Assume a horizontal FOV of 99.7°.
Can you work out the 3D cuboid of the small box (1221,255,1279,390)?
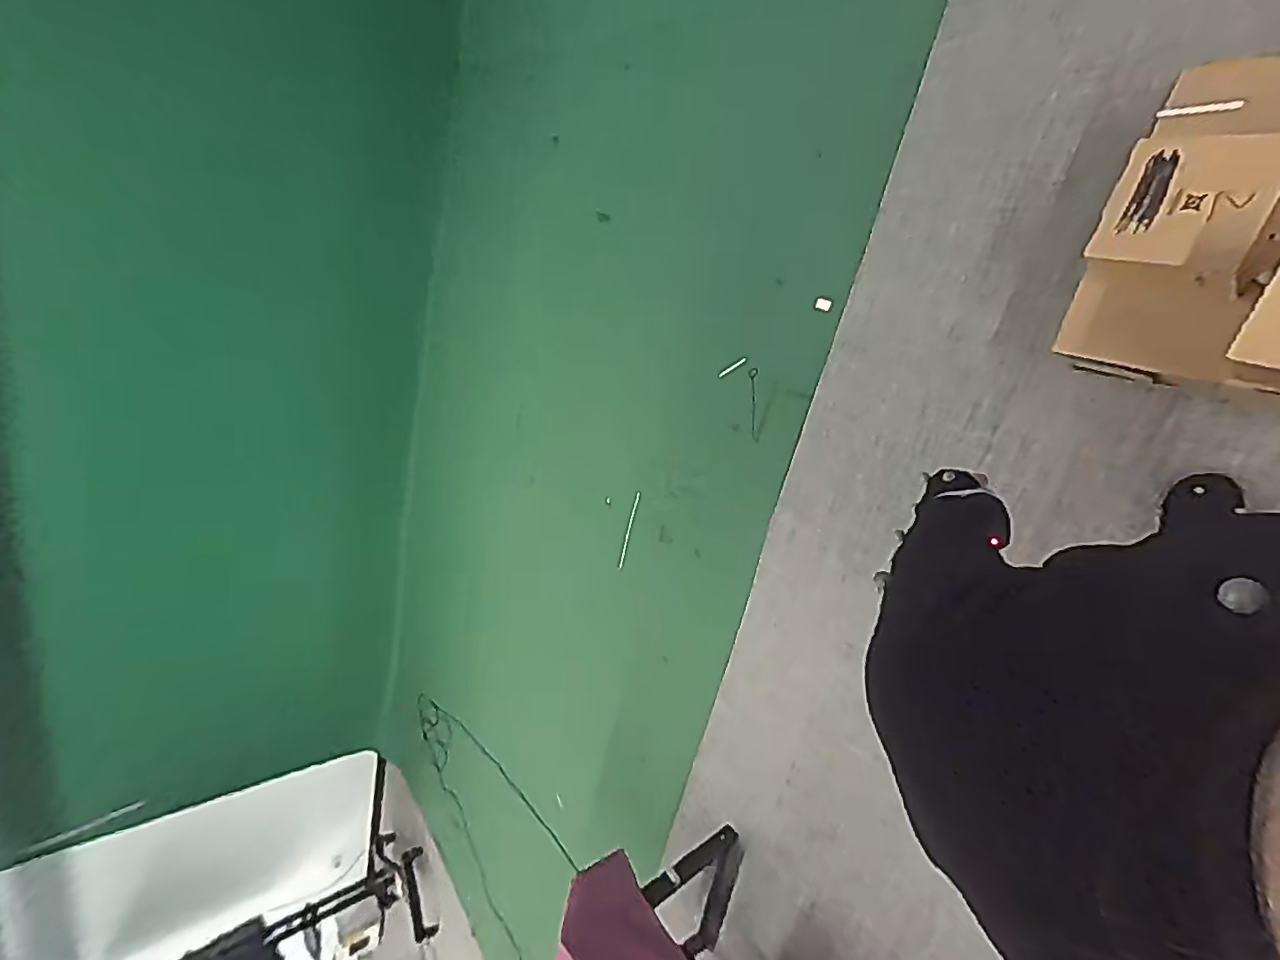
[{"bbox_3d":[0.787,-0.177,0.585,0.179,0.176,0.168,32,113,40],"label":"small box"}]

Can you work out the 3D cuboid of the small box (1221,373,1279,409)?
[{"bbox_3d":[0.904,-0.179,0.699,0.168,0.176,0.179,32,114,42],"label":"small box"}]
